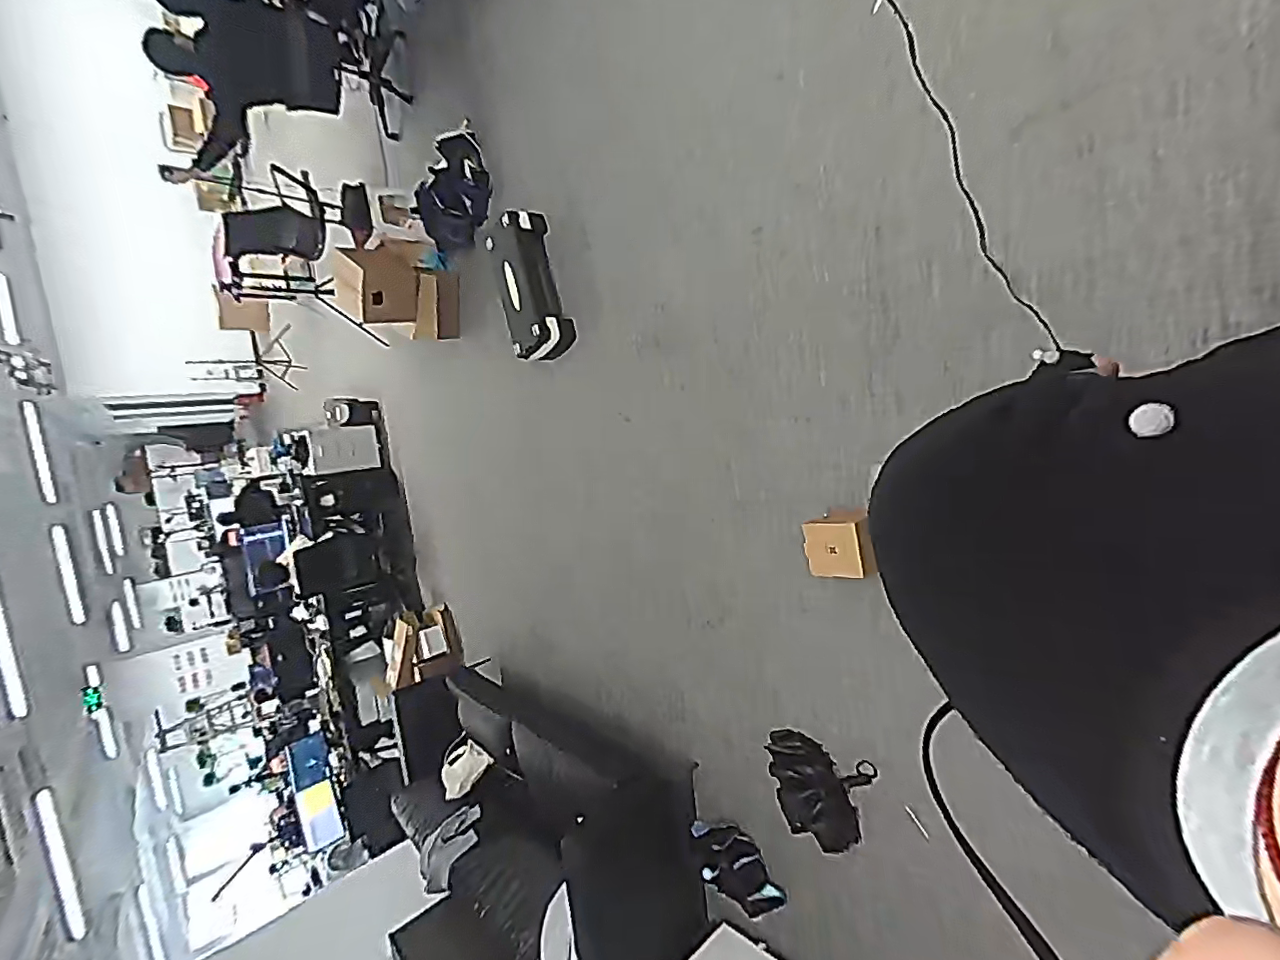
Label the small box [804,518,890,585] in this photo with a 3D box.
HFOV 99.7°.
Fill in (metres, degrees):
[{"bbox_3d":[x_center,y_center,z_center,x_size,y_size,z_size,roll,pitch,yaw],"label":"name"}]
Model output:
[{"bbox_3d":[0.632,0.215,1.653,0.179,0.176,0.168,-9,94,48],"label":"small box"}]
